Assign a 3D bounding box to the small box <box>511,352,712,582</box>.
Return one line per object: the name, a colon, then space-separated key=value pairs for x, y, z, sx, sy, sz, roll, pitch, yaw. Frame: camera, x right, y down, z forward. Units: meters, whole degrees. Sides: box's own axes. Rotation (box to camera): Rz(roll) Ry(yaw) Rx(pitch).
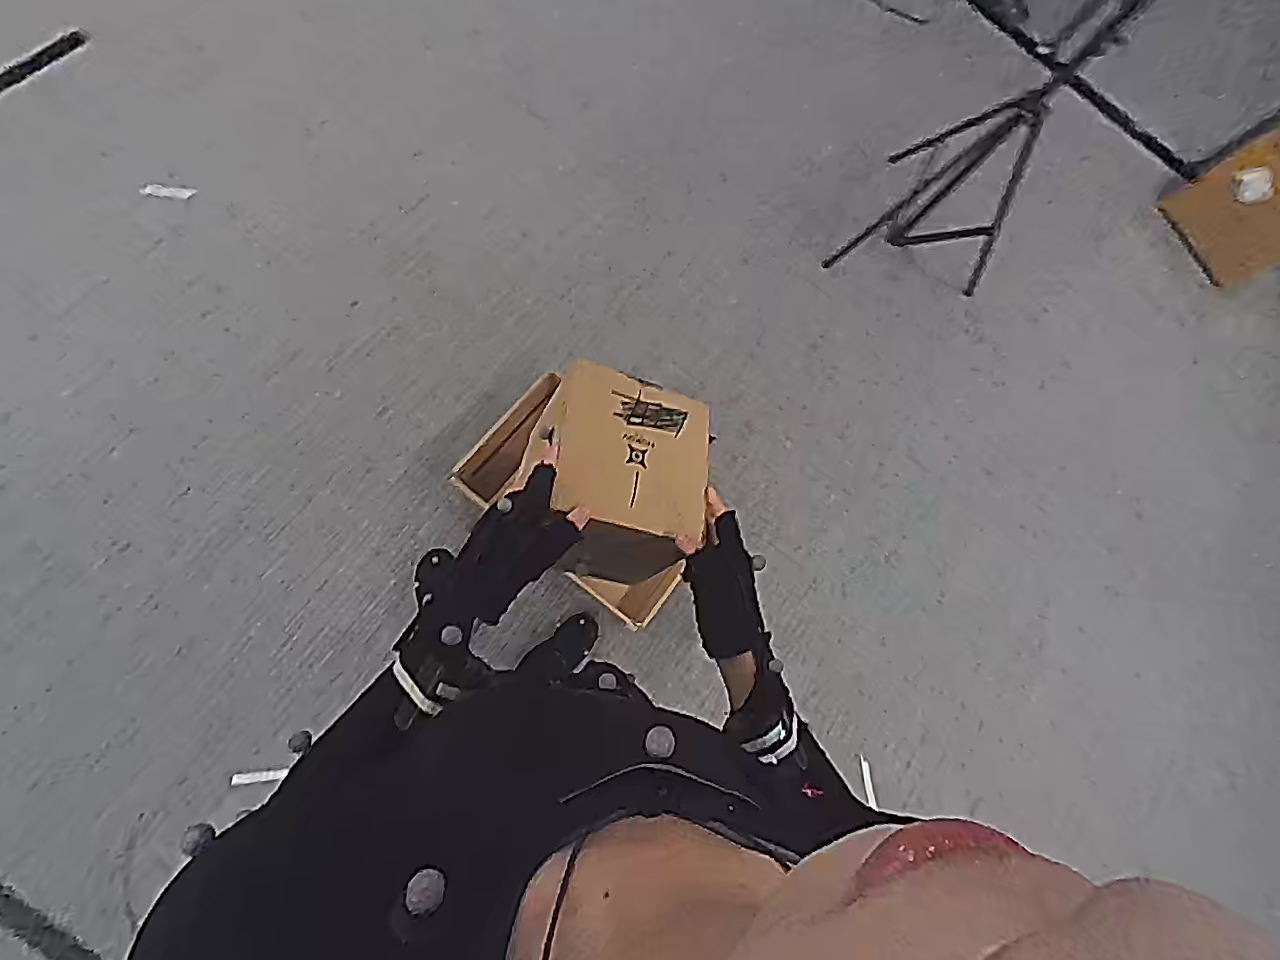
small box: x=-0.034 y=-0.003 z=0.601 sx=0.168 sy=0.176 sz=0.179 roll=16 pitch=61 yaw=-21
